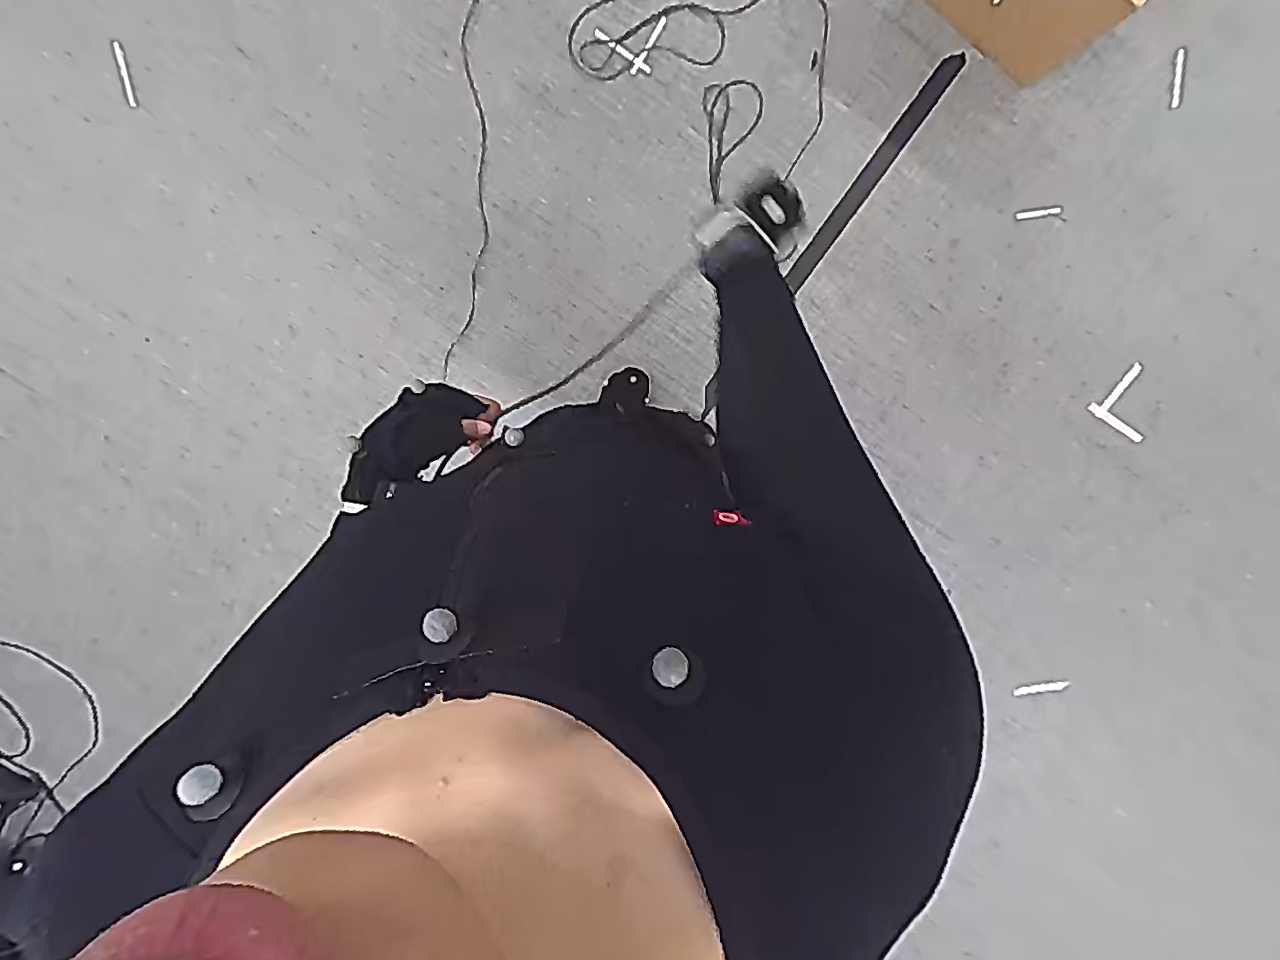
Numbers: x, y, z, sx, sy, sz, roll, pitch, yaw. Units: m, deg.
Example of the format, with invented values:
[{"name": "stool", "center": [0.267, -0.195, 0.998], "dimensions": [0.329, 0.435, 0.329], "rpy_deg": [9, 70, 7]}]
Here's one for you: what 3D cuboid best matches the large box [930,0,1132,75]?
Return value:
[{"name": "large box", "center": [0.820, -1.131, 1.069], "dimensions": [0.408, 0.320, 0.320], "rpy_deg": [34, 102, -6]}]
